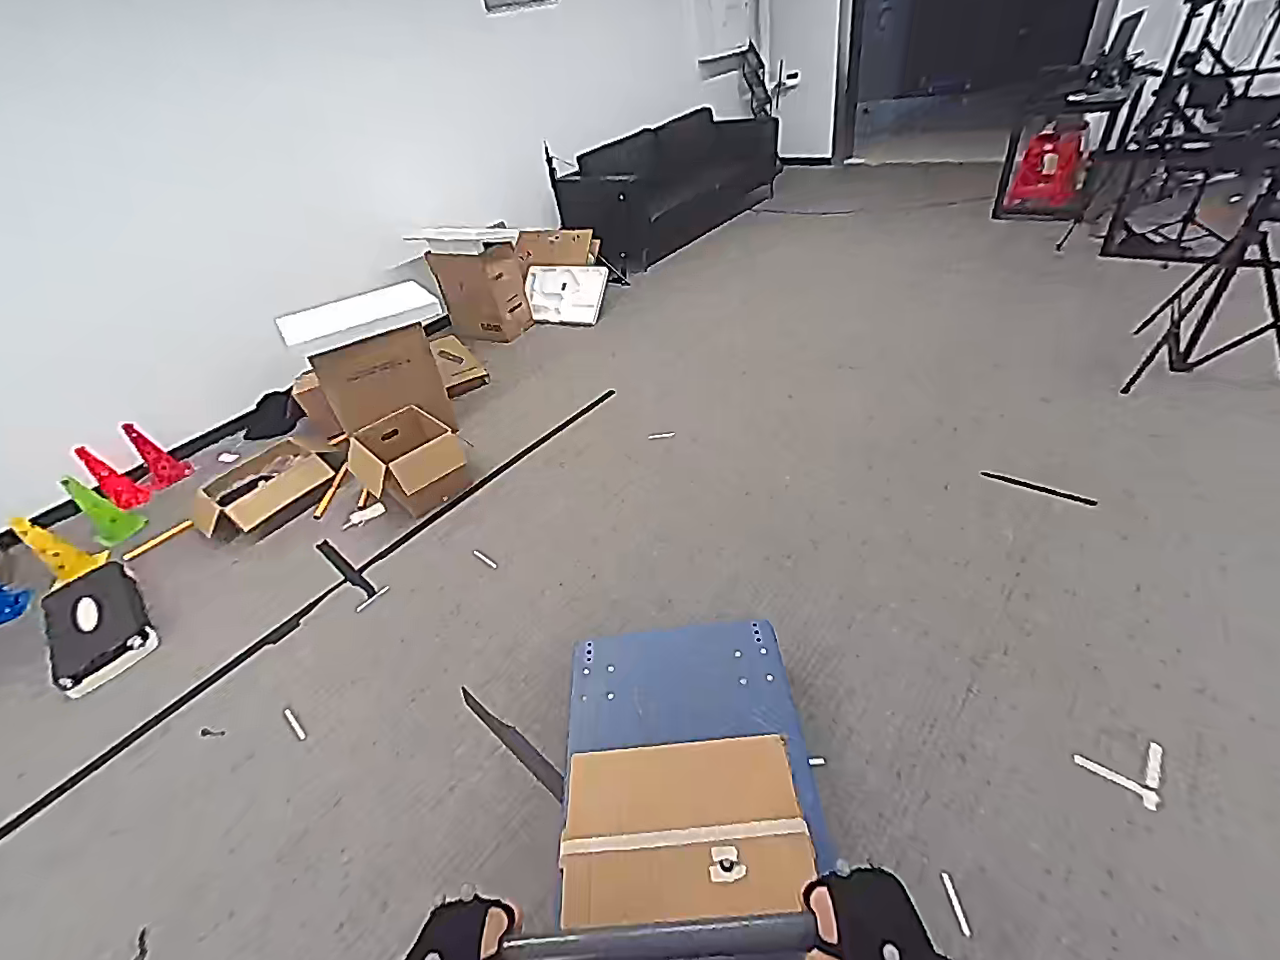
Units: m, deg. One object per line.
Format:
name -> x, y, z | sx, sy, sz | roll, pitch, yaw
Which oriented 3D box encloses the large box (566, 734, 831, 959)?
large box -> 0.093, 0.714, 1.001 | 0.408, 0.320, 0.320 | -7, 39, 3
